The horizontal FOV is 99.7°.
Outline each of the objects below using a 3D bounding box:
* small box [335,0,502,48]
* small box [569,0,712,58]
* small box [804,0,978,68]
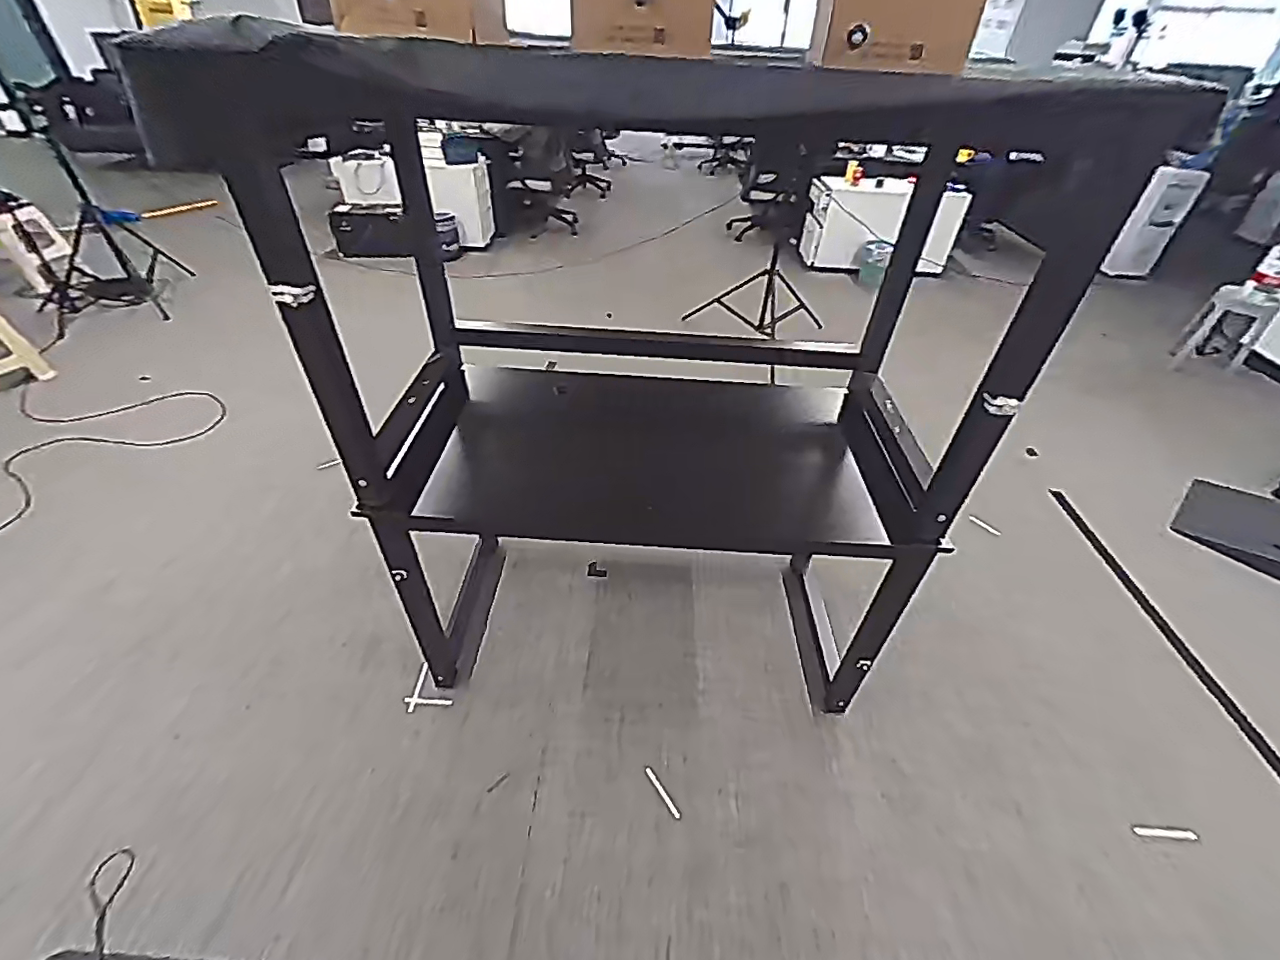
[{"bbox_3d":[-0.267,-0.632,0.645,0.168,0.176,0.179,4,39,-1],"label":"small box"},{"bbox_3d":[0.006,-0.618,0.645,0.168,0.176,0.179,4,39,1],"label":"small box"},{"bbox_3d":[0.305,-0.603,0.648,0.168,0.176,0.179,6,39,4],"label":"small box"}]
